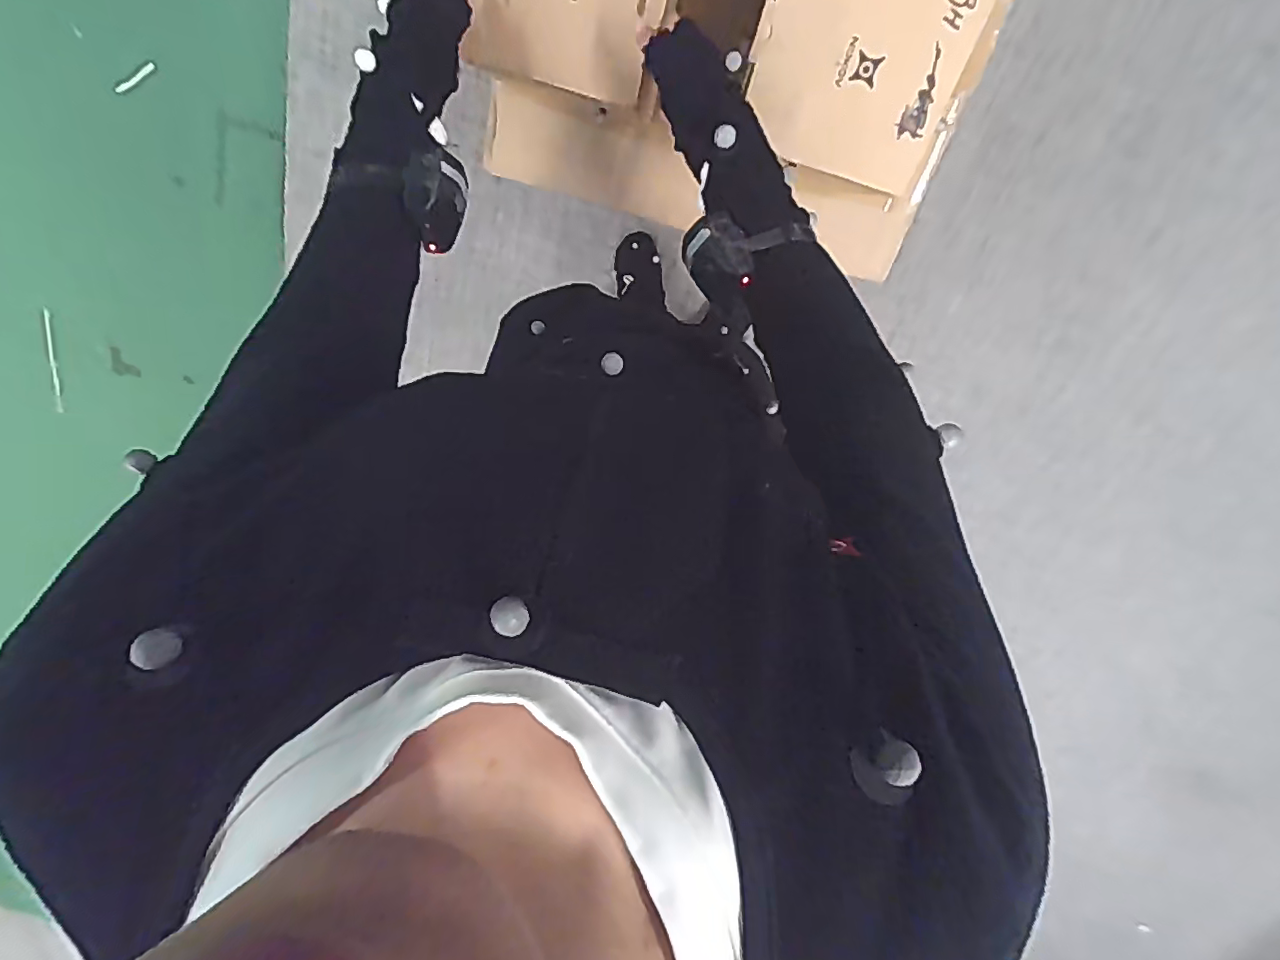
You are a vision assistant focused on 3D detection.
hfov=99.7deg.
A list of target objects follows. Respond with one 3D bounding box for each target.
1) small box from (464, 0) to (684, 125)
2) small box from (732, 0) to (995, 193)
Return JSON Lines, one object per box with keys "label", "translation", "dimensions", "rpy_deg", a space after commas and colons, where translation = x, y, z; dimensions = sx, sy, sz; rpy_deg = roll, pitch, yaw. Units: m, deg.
{"label": "small box", "translation": [-0.052, -0.468, 0.531], "dimensions": [0.179, 0.176, 0.168], "rpy_deg": [14, 118, -1]}
{"label": "small box", "translation": [0.199, -0.399, 0.540], "dimensions": [0.179, 0.176, 0.168], "rpy_deg": [17, 119, -2]}
